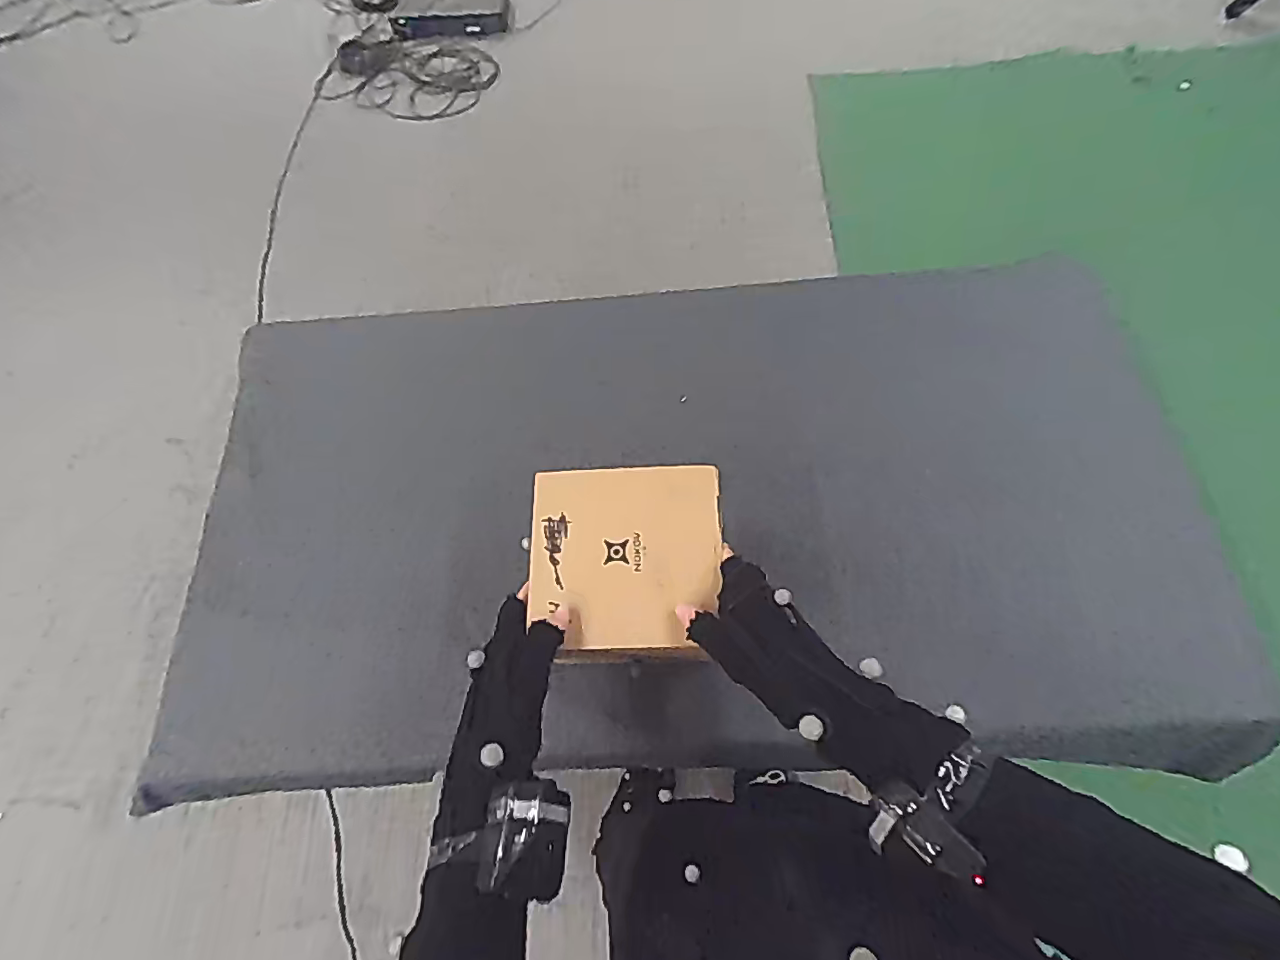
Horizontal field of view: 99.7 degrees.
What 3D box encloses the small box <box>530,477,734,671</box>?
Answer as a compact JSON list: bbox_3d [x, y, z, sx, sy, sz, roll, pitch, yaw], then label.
[{"bbox_3d":[-0.005,0.104,0.559,0.179,0.176,0.168,-2,67,2],"label":"small box"}]
